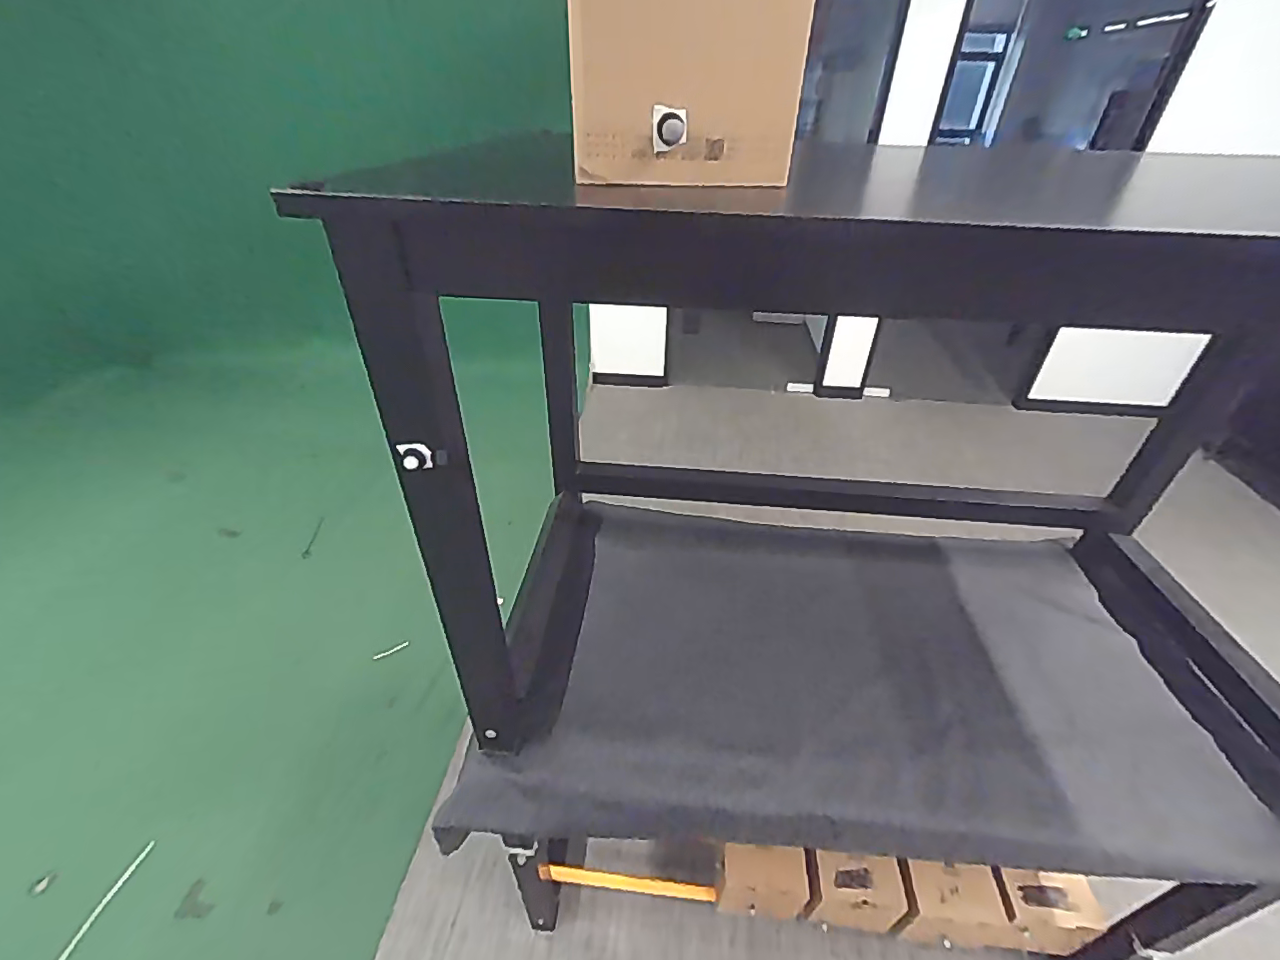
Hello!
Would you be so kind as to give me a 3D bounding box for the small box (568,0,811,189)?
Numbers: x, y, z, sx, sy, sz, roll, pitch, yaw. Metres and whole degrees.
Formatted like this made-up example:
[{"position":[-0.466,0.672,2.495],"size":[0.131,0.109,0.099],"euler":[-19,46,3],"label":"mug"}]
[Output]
[{"position":[0.026,-0.347,0.443],"size":[0.168,0.176,0.179],"euler":[-3,37,-5],"label":"small box"}]
